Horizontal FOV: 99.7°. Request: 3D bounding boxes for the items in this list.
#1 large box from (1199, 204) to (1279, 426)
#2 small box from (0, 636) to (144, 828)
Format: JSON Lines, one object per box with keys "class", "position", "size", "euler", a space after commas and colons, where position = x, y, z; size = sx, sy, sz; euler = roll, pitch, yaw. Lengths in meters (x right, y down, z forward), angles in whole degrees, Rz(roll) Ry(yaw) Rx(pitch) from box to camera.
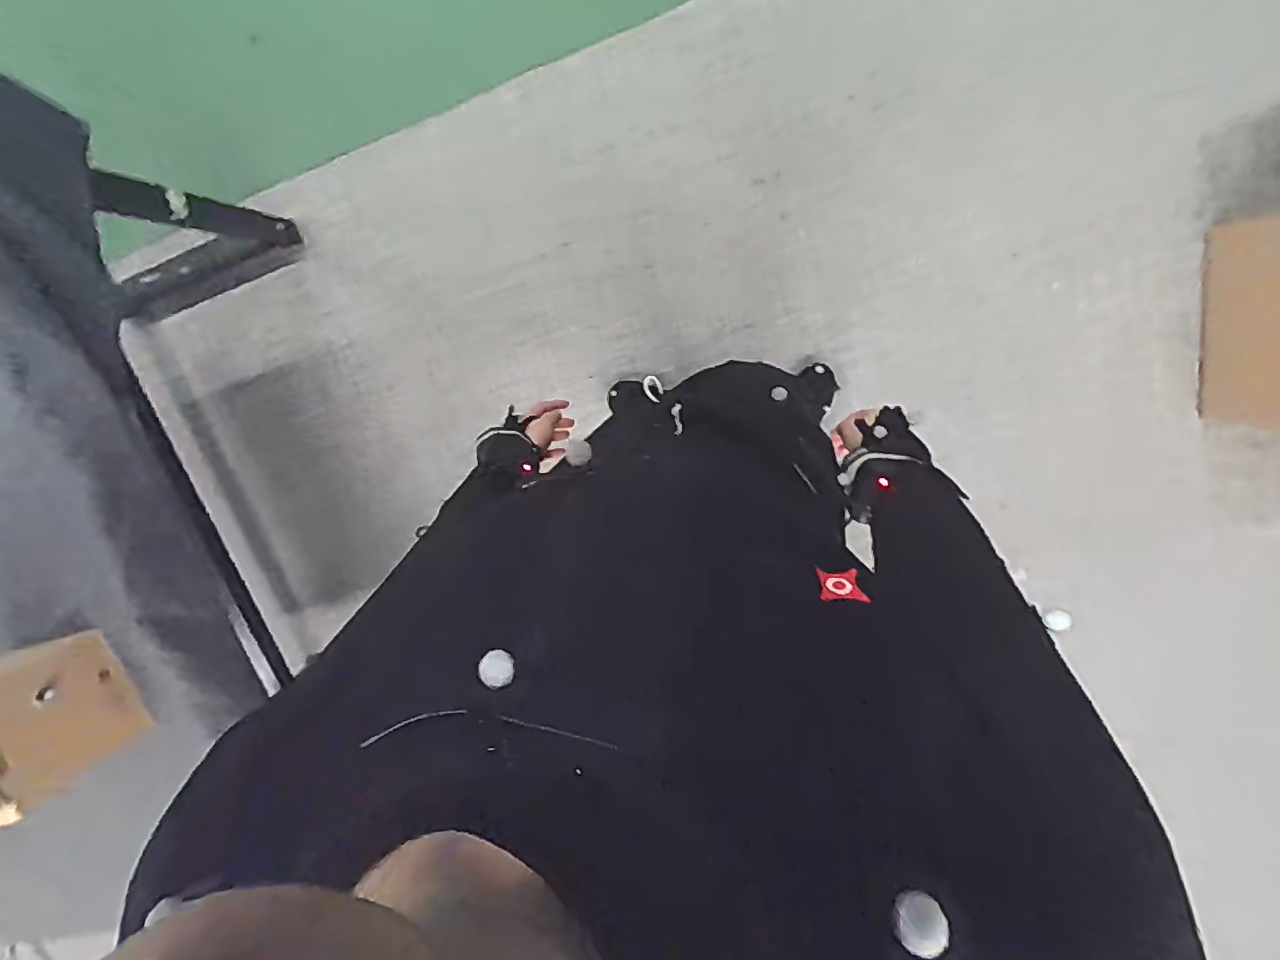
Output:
{"class": "large box", "position": [1.315, -0.324, 0.978], "size": [0.320, 0.320, 0.408], "euler": [-11, 105, 10]}
{"class": "small box", "position": [-0.817, 0.328, 0.713], "size": [0.179, 0.176, 0.168], "euler": [-16, 102, 12]}
